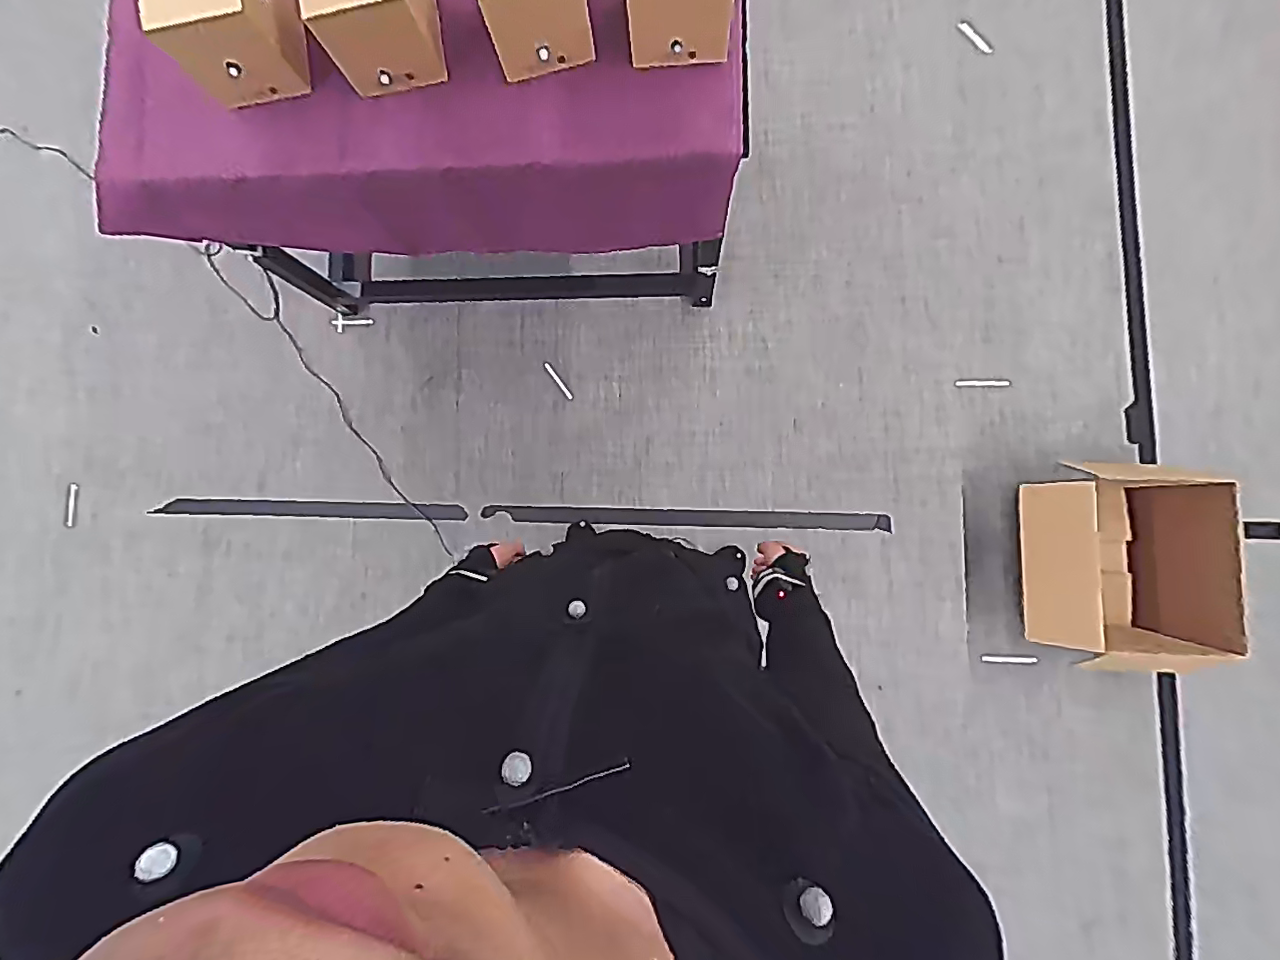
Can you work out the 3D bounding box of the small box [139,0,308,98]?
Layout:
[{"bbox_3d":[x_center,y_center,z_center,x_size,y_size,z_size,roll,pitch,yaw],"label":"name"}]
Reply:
[{"bbox_3d":[-0.698,-0.789,0.919,0.168,0.176,0.179,-9,86,2],"label":"small box"}]

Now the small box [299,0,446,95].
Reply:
[{"bbox_3d":[-0.445,-0.800,0.906,0.168,0.176,0.179,-10,86,4],"label":"small box"}]

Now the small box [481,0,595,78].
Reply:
[{"bbox_3d":[-0.179,-0.821,0.890,0.168,0.176,0.179,-13,86,3],"label":"small box"}]
